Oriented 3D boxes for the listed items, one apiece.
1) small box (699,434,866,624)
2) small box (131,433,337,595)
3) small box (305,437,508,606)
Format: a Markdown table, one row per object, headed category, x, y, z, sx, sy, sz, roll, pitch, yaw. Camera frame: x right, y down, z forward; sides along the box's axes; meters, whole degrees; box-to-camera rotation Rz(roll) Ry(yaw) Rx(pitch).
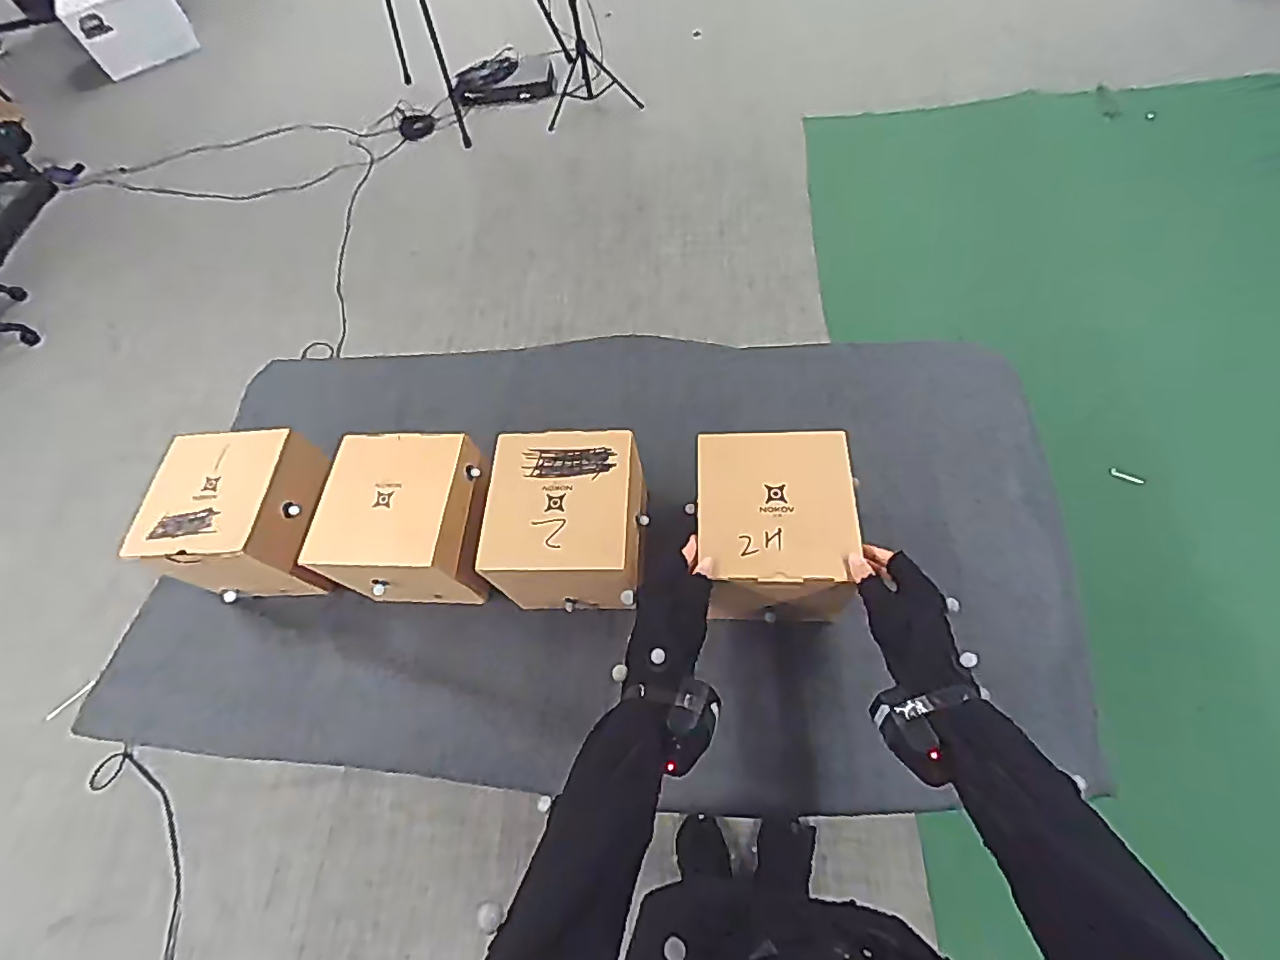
| category | x | y | z | sx | sy | sz | roll | pitch | yaw |
| --- | --- | --- | --- | --- | --- | --- | --- | --- | --- |
| small box | 0.156 | 0.063 | 0.648 | 0.168 | 0.176 | 0.179 | -1 | 62 | 9 |
| small box | -0.522 | 0.056 | 0.750 | 0.168 | 0.176 | 0.179 | -3 | 61 | 6 |
| small box | -0.289 | 0.061 | 0.716 | 0.168 | 0.176 | 0.179 | 0 | 61 | 8 |
